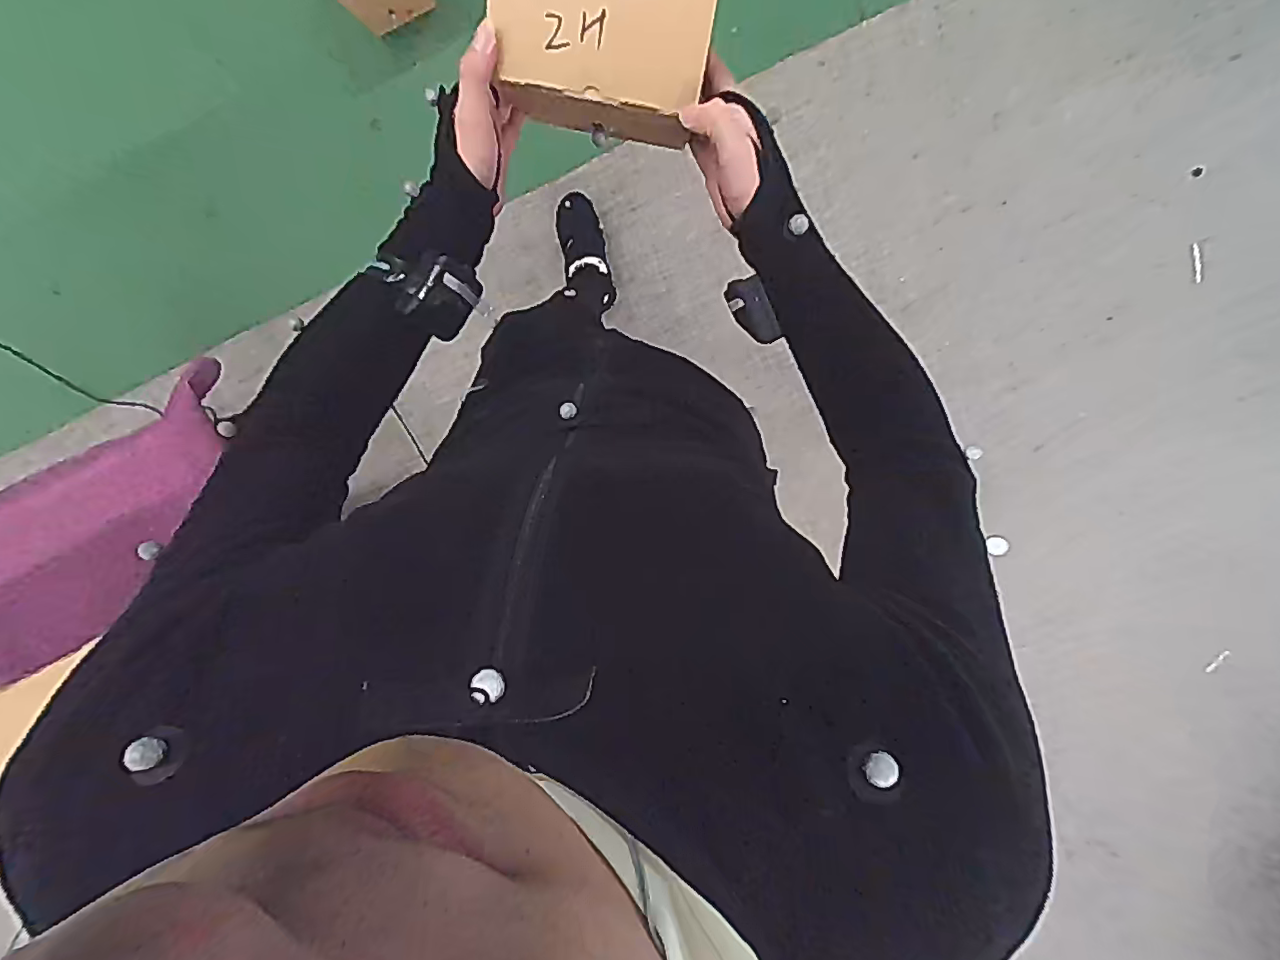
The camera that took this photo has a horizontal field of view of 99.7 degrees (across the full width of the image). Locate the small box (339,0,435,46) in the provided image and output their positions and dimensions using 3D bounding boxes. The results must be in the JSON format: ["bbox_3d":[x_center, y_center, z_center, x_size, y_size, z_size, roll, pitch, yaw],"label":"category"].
[{"bbox_3d":[-0.579,-1.104,1.173,0.168,0.176,0.179,-23,108,7],"label":"small box"}]

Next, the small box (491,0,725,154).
[{"bbox_3d":[-0.018,-0.399,0.454,0.168,0.176,0.179,10,114,-3],"label":"small box"}]
